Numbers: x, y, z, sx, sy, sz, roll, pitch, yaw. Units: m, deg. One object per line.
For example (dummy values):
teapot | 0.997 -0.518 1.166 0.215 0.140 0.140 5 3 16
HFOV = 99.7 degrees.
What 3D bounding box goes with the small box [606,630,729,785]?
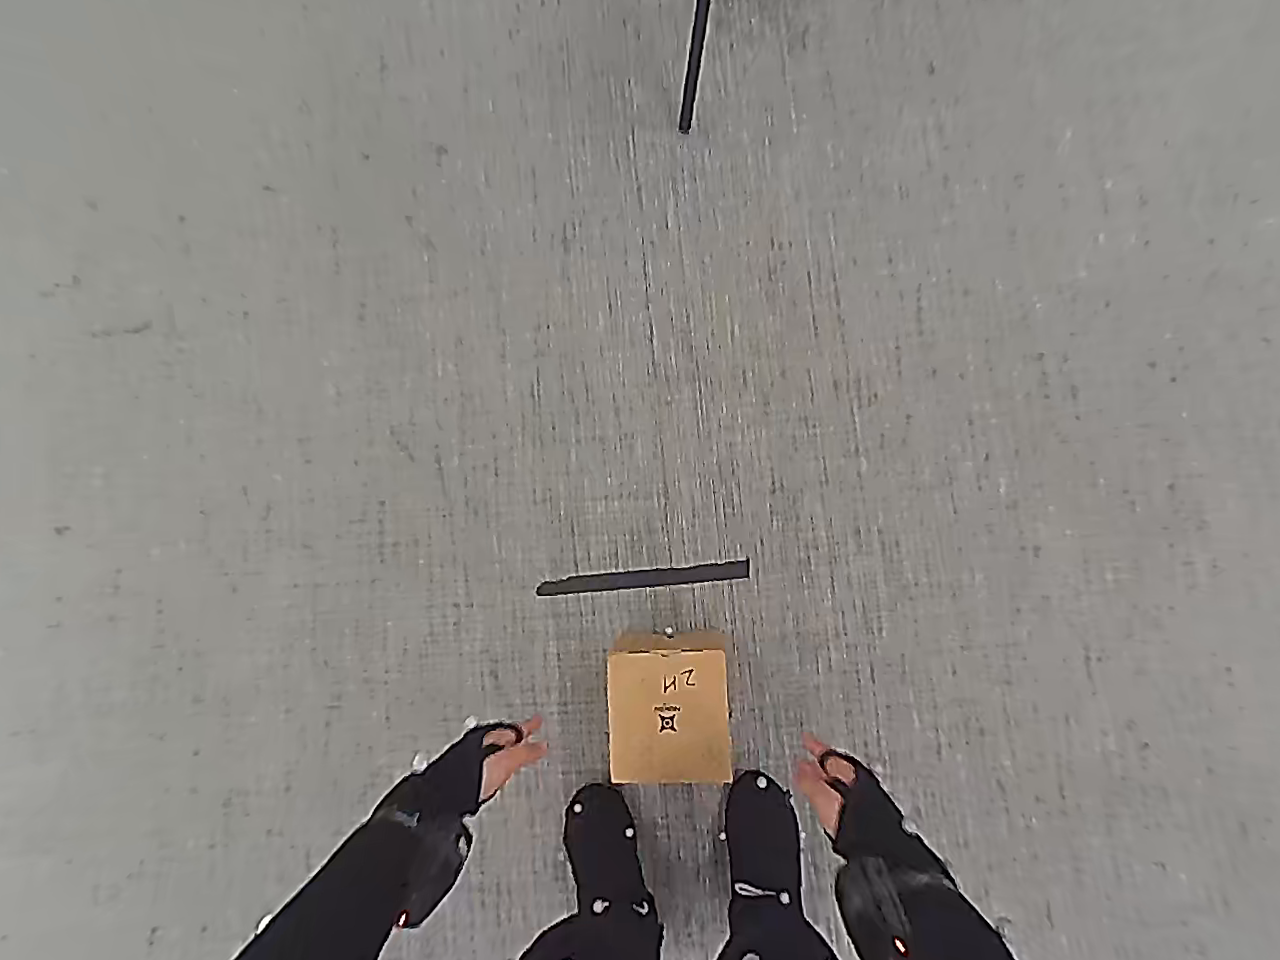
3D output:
small box | 0.043 0.329 0.809 0.168 0.176 0.179 -3 83 5
